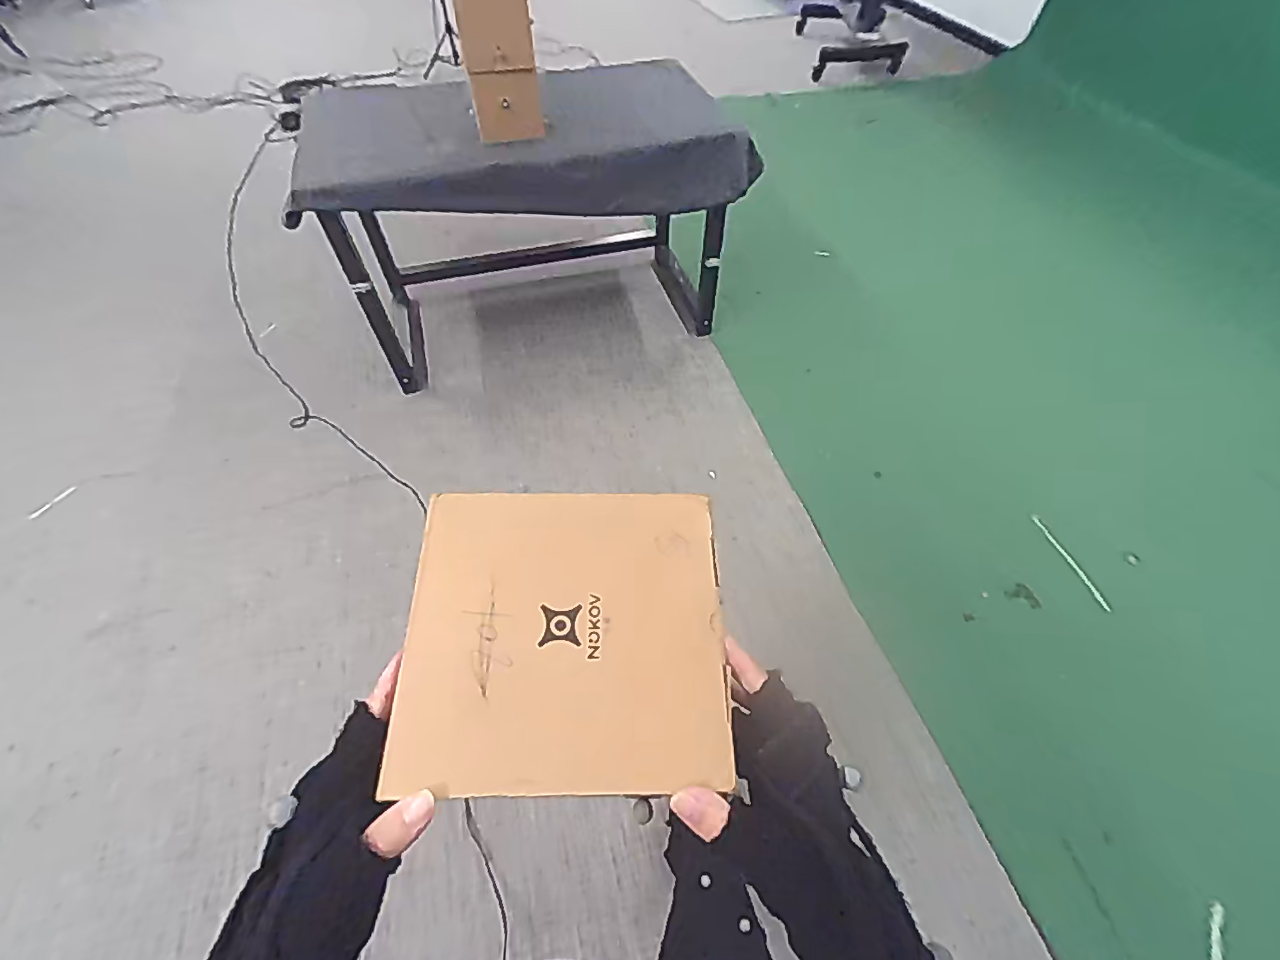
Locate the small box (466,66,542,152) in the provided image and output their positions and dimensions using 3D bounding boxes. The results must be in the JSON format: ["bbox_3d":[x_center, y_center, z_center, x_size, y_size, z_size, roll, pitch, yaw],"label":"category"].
[{"bbox_3d":[-0.374,-1.032,1.486,0.179,0.176,0.168,-15,55,-12],"label":"small box"}]

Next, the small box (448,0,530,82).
[{"bbox_3d":[-0.375,-1.125,1.352,0.179,0.176,0.168,-11,54,-9],"label":"small box"}]

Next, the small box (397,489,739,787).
[{"bbox_3d":[-0.041,0.118,0.380,0.179,0.176,0.168,-2,60,-3],"label":"small box"}]
